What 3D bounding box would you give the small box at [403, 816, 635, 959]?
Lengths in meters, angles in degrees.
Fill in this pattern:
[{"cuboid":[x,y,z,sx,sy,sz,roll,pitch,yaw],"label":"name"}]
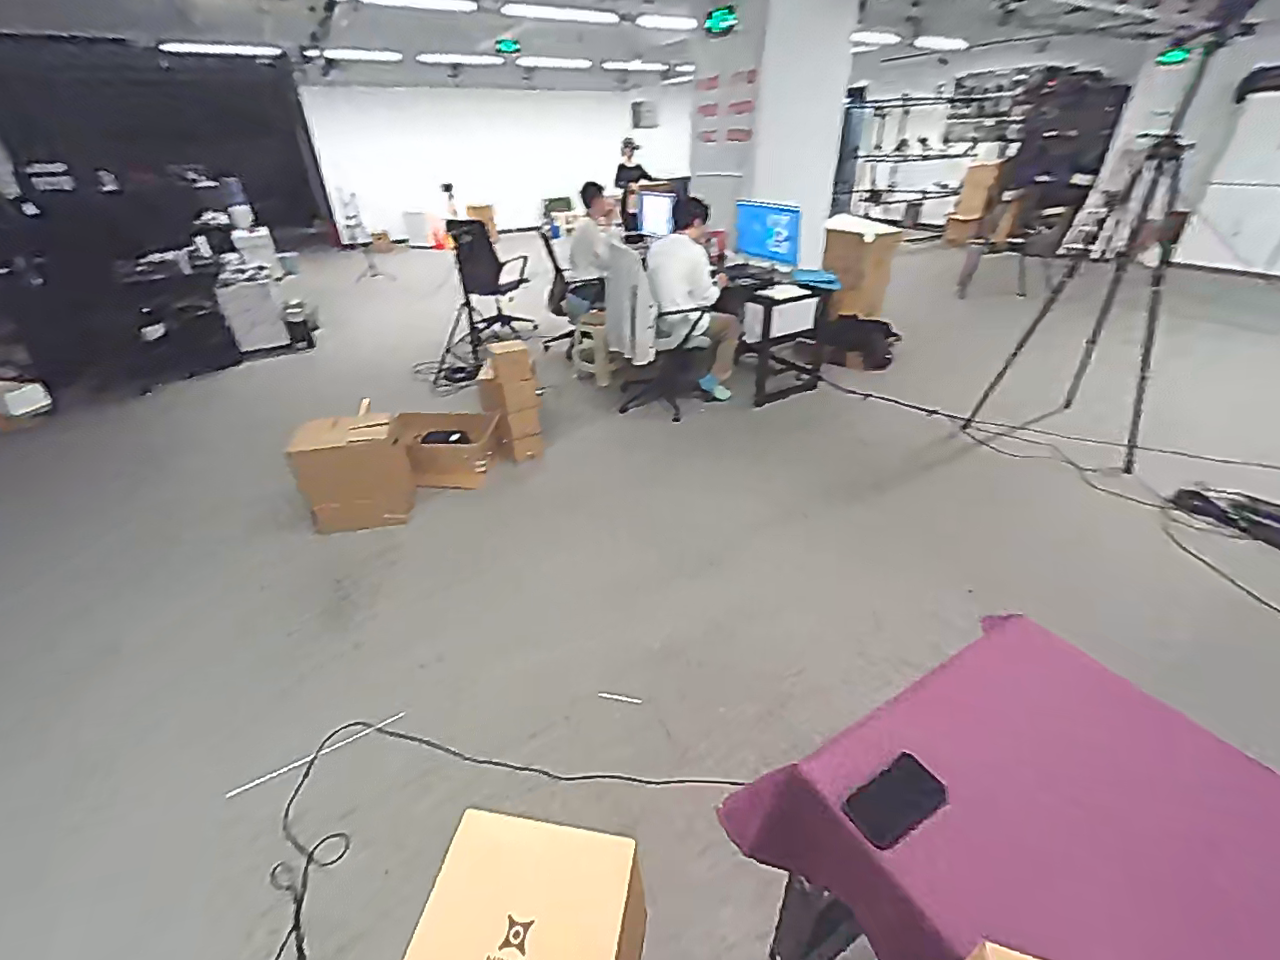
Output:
[{"cuboid":[-0.099,0.438,0.475,0.168,0.176,0.179,3,36,10],"label":"small box"}]
